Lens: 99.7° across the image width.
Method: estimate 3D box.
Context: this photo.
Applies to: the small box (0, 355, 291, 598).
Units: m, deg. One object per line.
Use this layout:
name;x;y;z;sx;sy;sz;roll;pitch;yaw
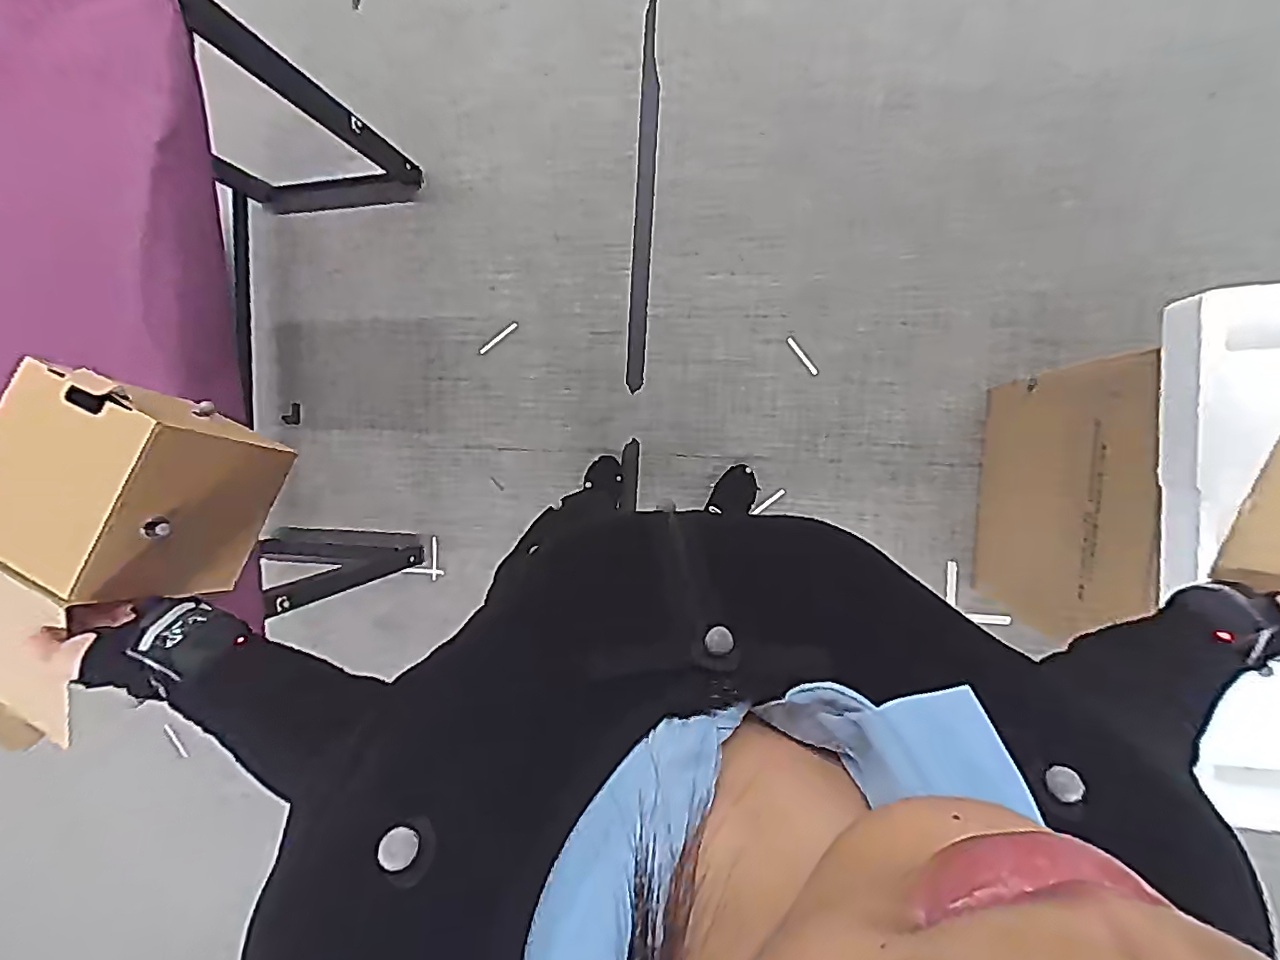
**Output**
small box;-0.516;0.003;0.564;0.168;0.176;0.179;24;86;9
